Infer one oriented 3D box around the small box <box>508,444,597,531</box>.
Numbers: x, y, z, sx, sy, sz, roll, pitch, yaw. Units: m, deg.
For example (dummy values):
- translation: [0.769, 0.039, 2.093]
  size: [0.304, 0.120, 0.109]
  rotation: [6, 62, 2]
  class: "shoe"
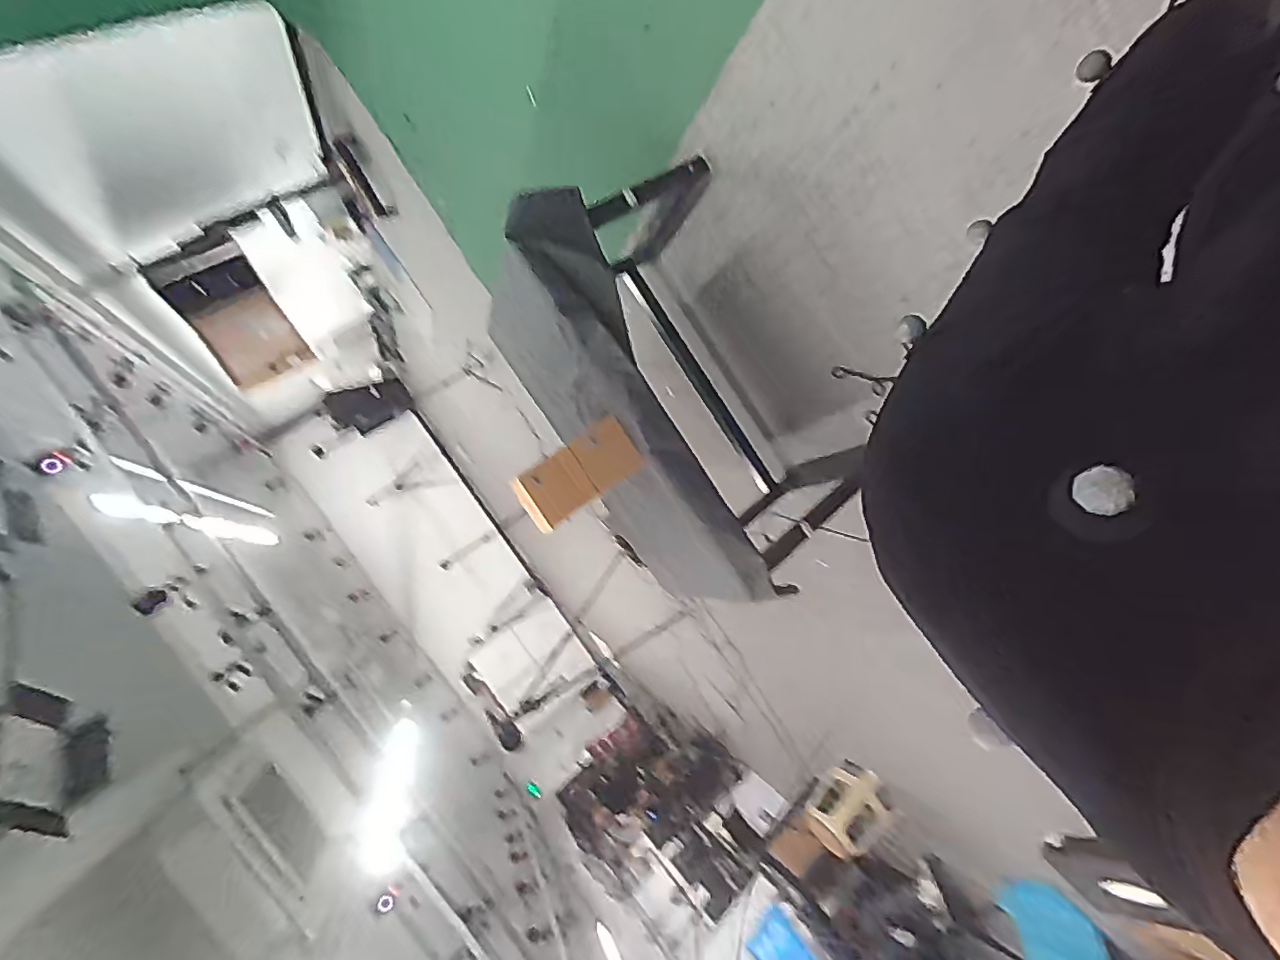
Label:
- translation: [-0.245, 0.023, 1.522]
  size: [0.179, 0.176, 0.168]
  rotation: [57, 158, -5]
  class: "small box"
